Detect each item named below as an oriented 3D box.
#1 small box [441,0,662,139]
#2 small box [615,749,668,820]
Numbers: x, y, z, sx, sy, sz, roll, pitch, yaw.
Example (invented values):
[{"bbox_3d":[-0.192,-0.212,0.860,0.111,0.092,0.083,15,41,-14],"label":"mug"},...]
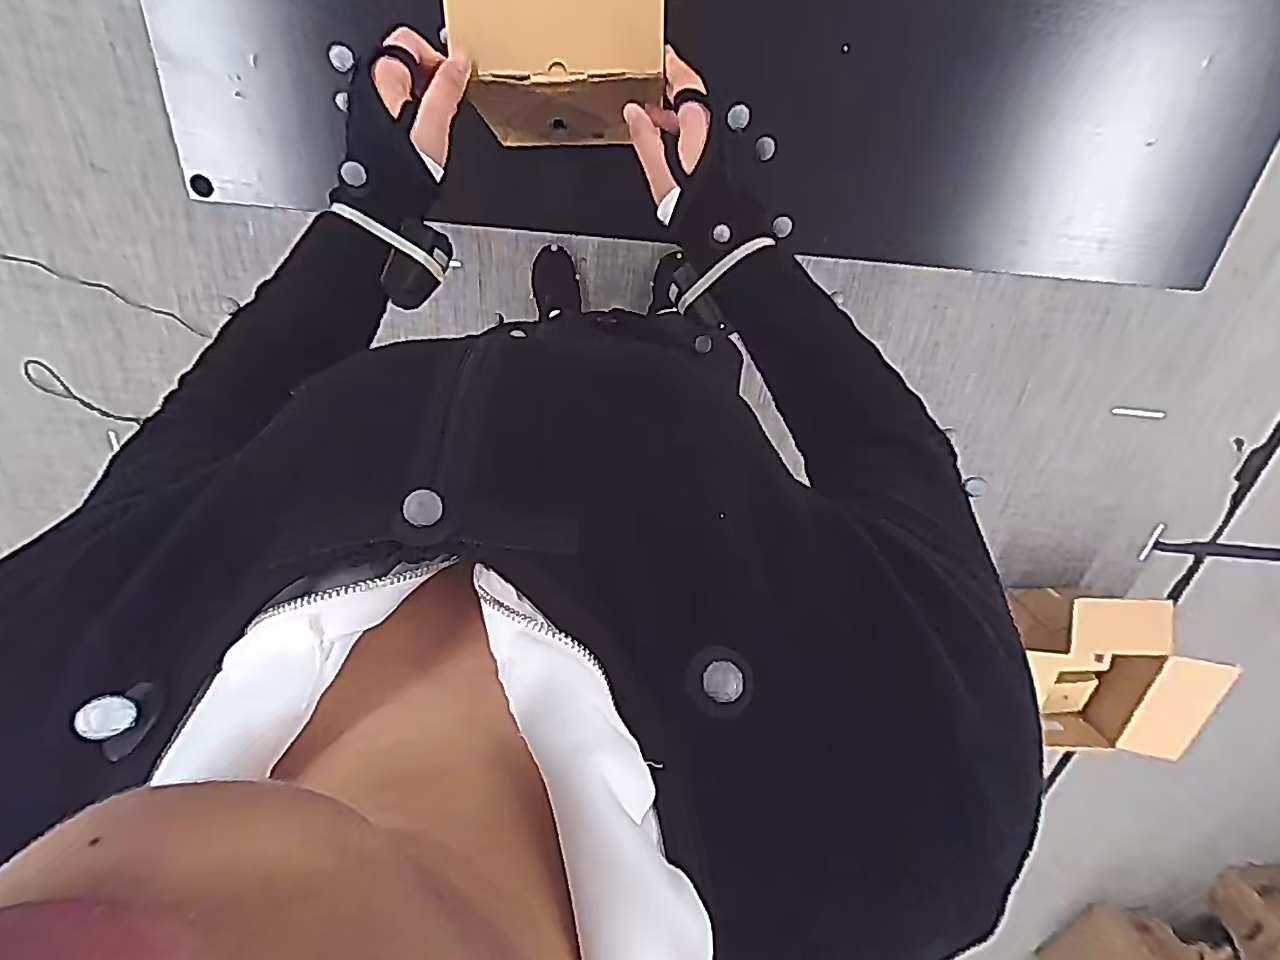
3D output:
[{"bbox_3d":[-0.067,-0.418,0.464,0.168,0.176,0.179,-1,108,0],"label":"small box"},{"bbox_3d":[0.003,1.137,2.028,0.179,0.176,0.168,7,114,-3],"label":"small box"}]
